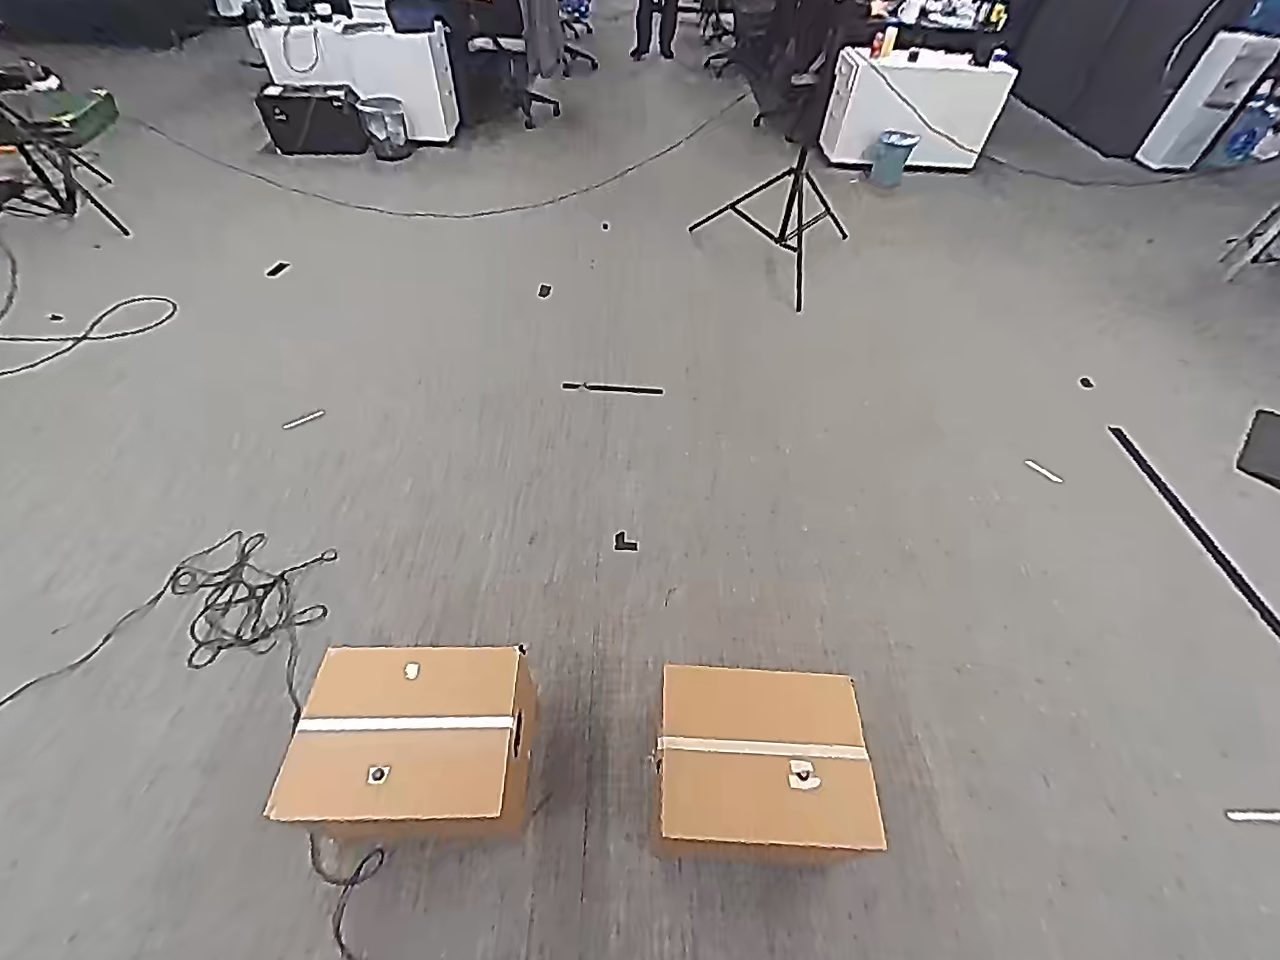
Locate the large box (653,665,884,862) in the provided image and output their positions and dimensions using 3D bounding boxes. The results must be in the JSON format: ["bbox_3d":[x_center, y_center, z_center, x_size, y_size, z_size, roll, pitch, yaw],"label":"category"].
[{"bbox_3d":[0.237,0.620,1.174,0.408,0.320,0.320,4,50,-1],"label":"large box"}]
